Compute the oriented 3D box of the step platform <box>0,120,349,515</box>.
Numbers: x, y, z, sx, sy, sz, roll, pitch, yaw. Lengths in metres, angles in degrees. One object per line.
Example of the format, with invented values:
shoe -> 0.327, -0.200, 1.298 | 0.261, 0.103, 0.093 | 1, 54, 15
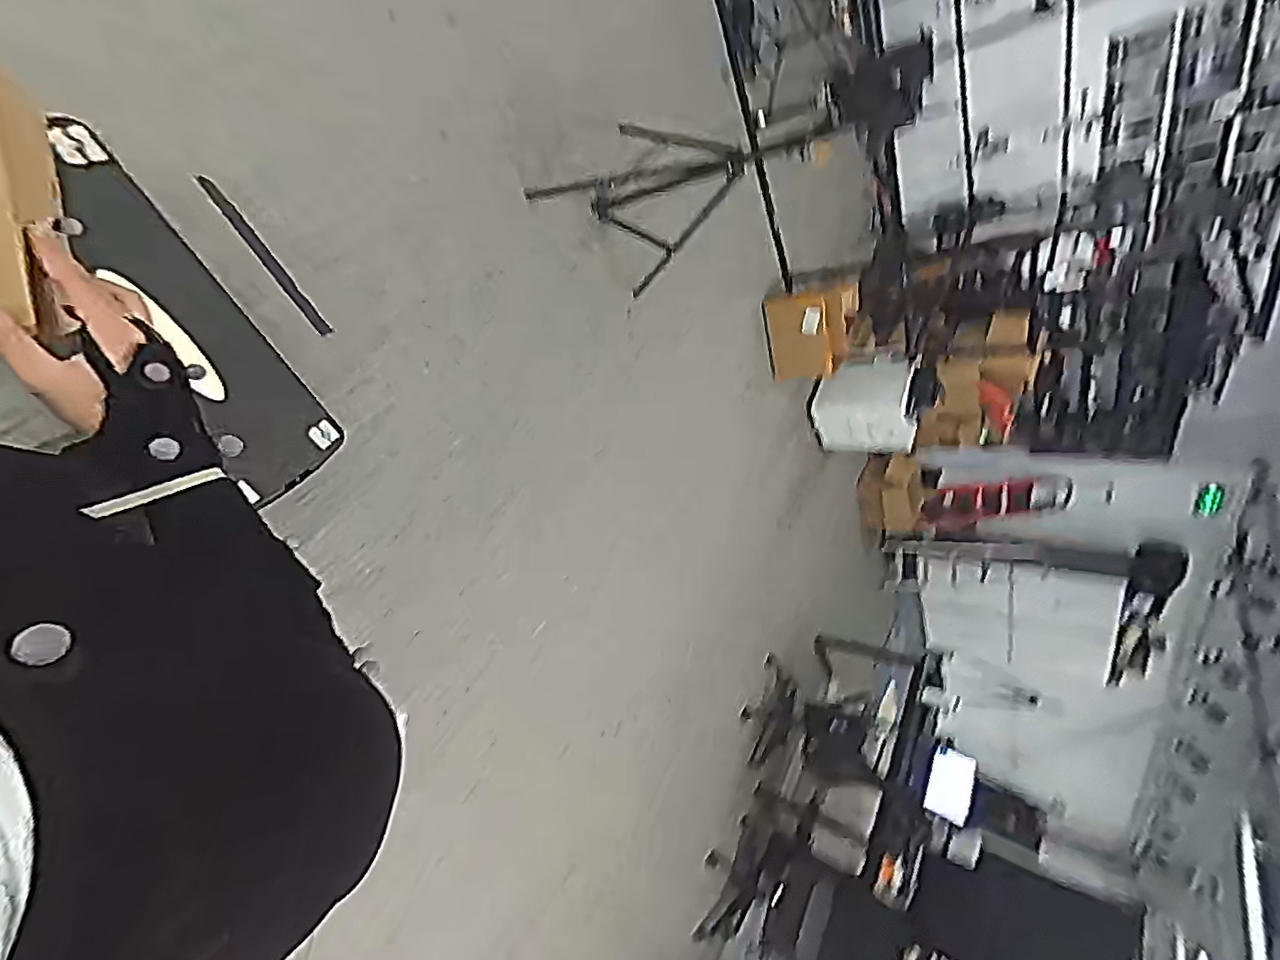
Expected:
step platform -> -0.883, -0.257, 1.004 | 0.286, 0.204, 0.684 | -53, 131, -35
